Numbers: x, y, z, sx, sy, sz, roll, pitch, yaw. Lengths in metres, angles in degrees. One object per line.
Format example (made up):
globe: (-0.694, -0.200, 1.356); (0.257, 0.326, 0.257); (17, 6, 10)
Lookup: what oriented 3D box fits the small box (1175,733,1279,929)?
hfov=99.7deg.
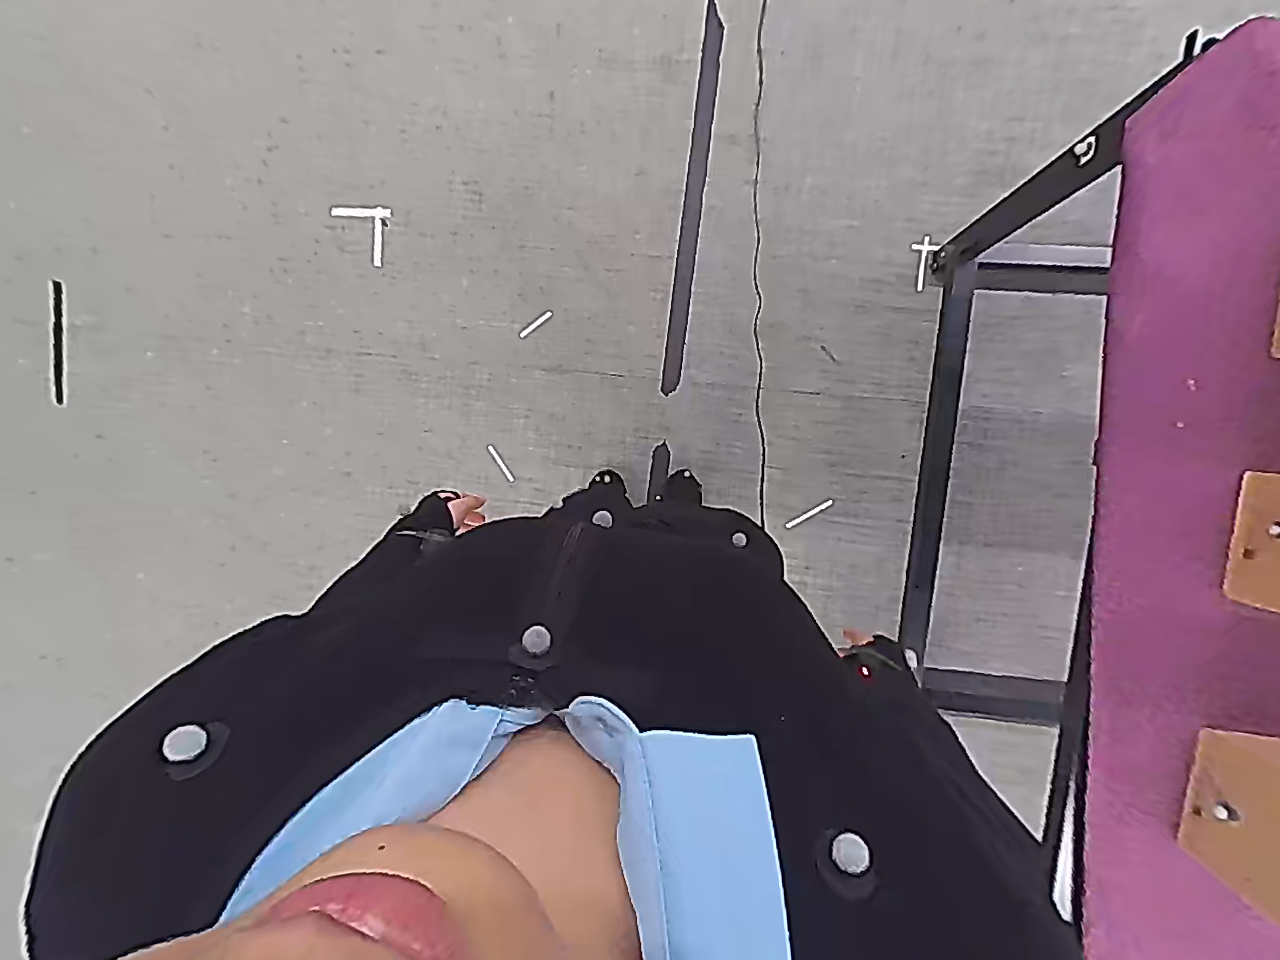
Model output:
small box: (0.800, 0.421, 0.628); (0.179, 0.176, 0.168); (7, 94, 4)

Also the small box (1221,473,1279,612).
small box: (0.834, 0.084, 0.603); (0.179, 0.176, 0.168); (5, 95, 5)
